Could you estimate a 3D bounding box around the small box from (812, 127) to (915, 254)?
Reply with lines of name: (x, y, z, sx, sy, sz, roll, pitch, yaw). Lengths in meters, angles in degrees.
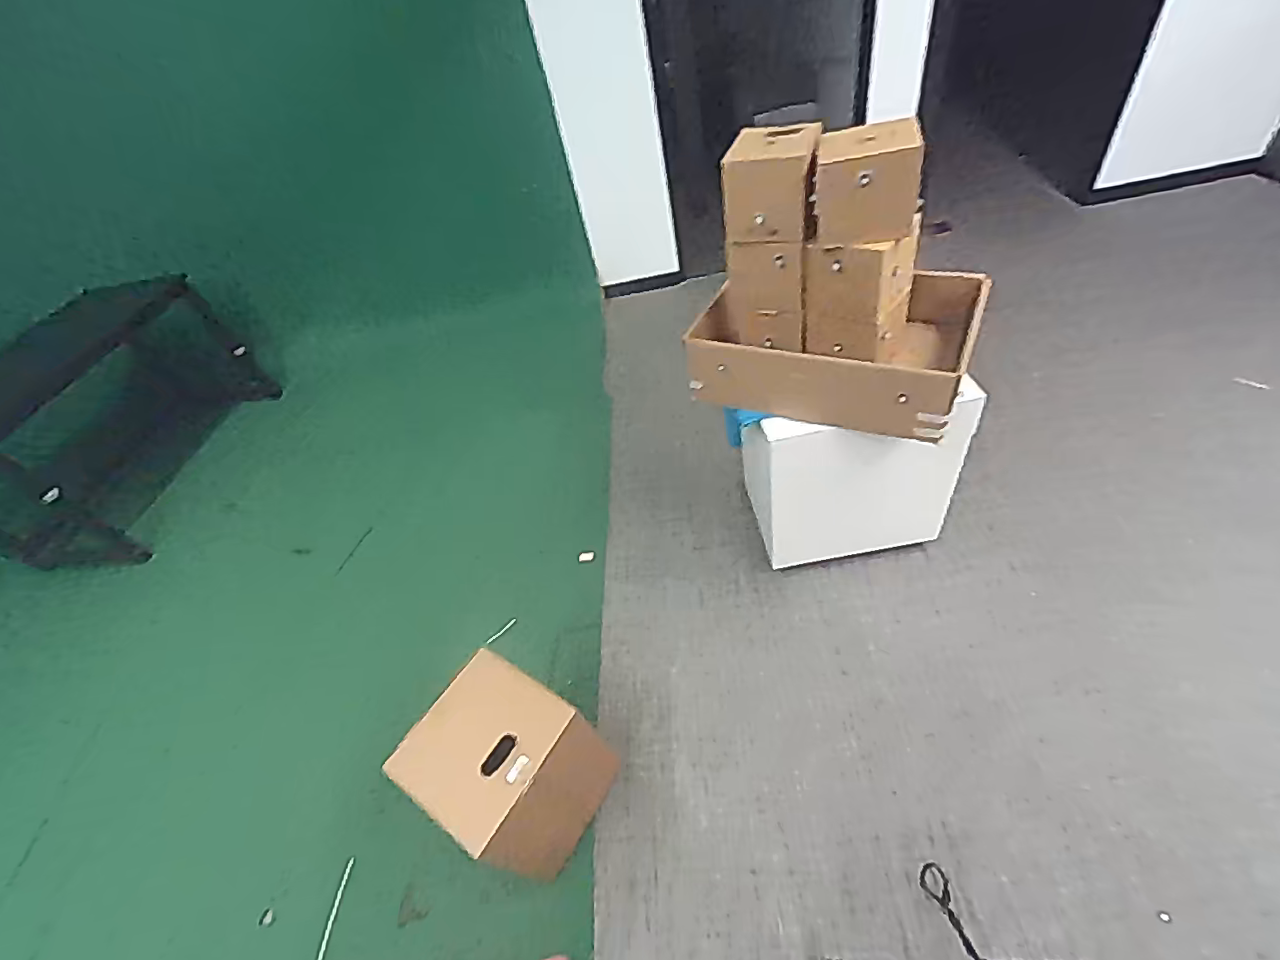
small box: (0.444, -0.571, 1.081, 0.179, 0.176, 0.168, 1, 47, 21)
